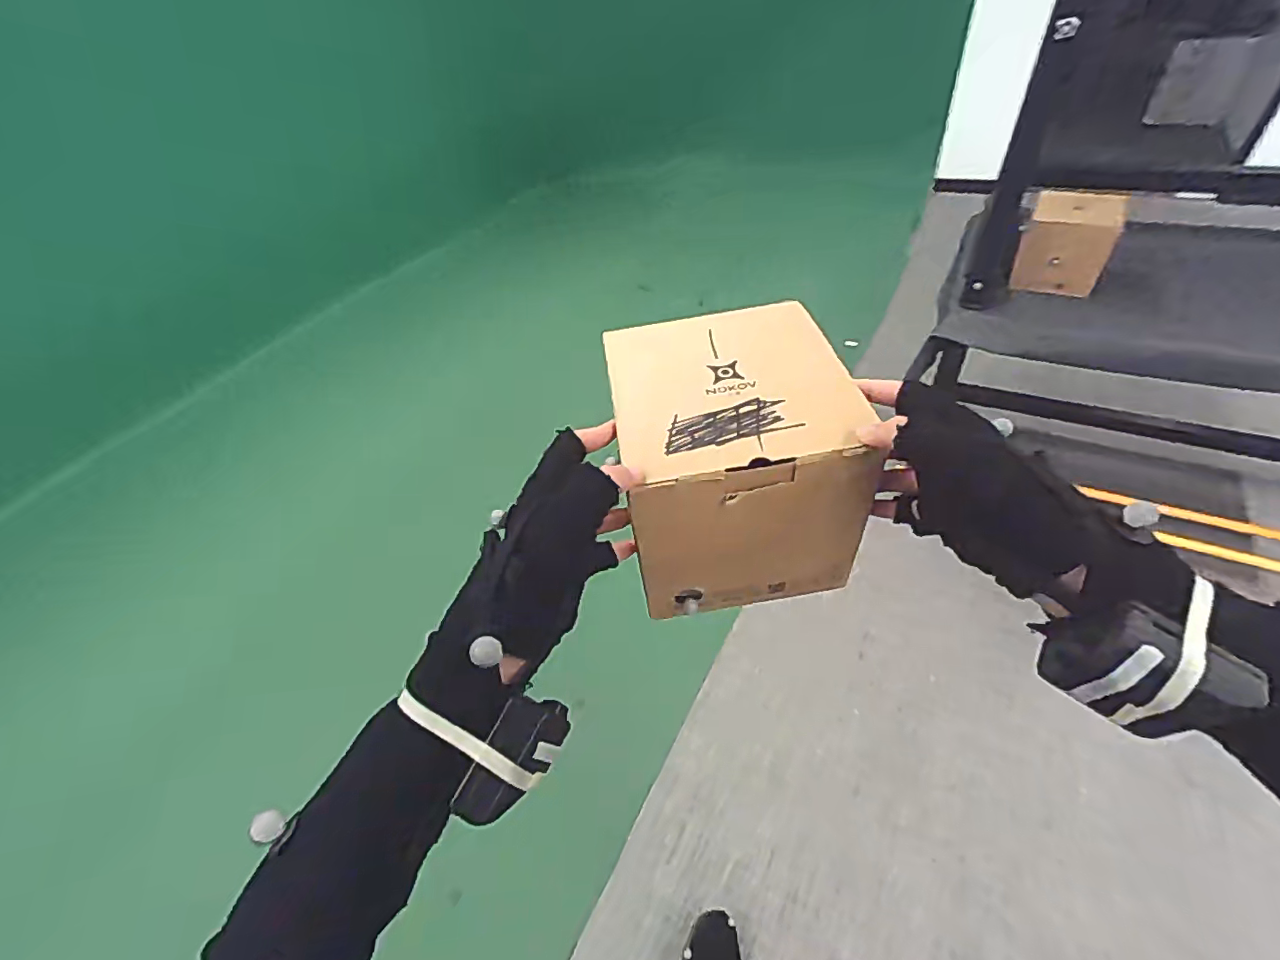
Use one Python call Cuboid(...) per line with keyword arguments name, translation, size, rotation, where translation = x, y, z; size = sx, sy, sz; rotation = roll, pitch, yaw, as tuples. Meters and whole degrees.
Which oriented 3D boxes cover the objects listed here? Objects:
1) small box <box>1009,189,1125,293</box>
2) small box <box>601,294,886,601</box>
Cuboid(name="small box", translation=(1.000, -0.562, 1.276), size=(0.168, 0.176, 0.179), rotation=(20, 53, 25))
Cuboid(name="small box", translation=(0.067, -0.019, 0.433), size=(0.168, 0.176, 0.179), rotation=(-9, 47, 0))
